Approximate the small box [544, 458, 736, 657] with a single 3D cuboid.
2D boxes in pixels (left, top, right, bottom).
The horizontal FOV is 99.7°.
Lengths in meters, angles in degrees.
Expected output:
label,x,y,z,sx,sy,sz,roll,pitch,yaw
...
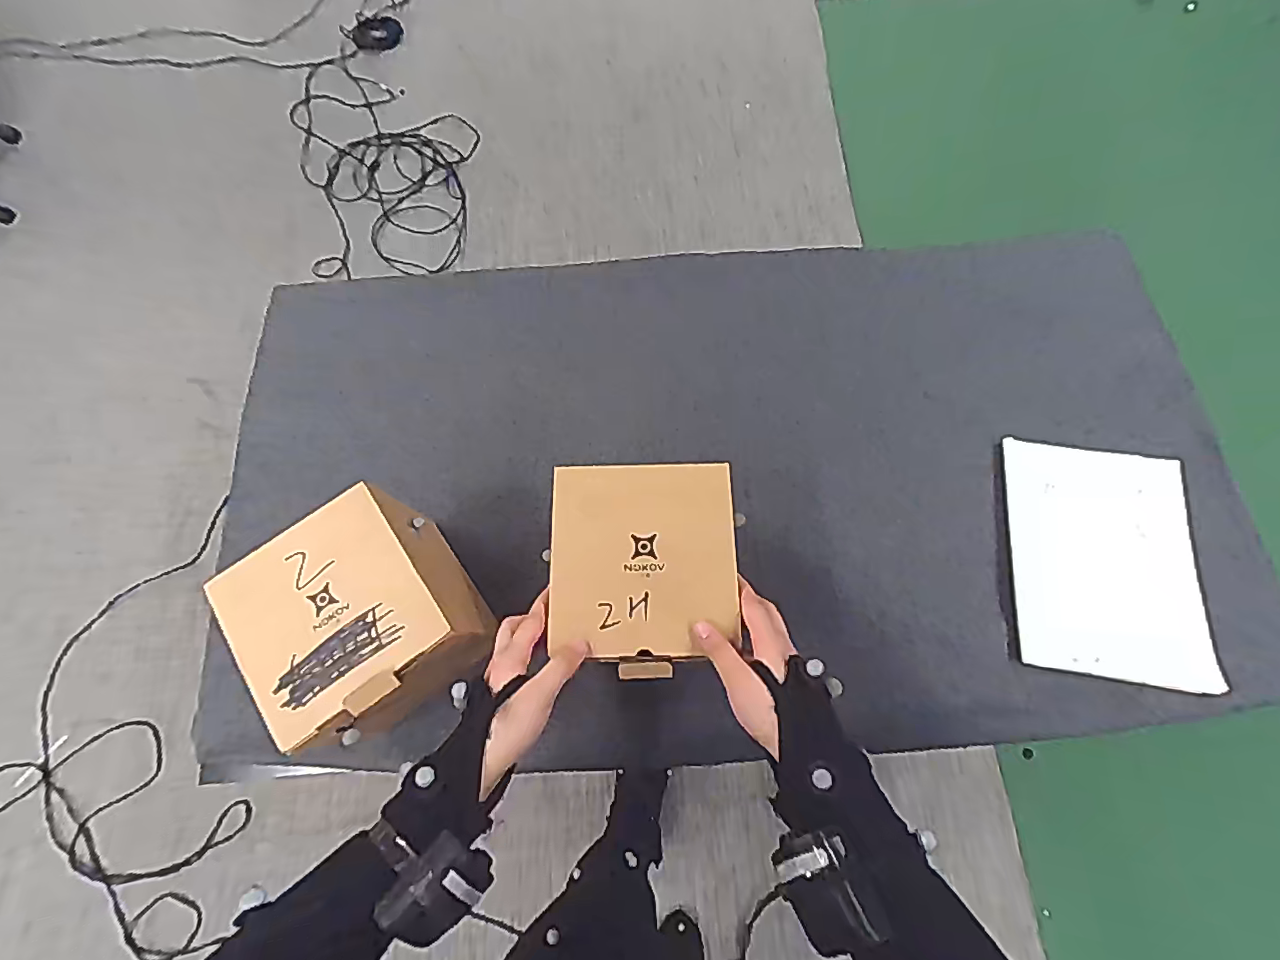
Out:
label,x,y,z,sx,sy,sz,roll,pitch,yaw
small box,0.001,0.088,0.557,0.168,0.176,0.179,-2,72,2
